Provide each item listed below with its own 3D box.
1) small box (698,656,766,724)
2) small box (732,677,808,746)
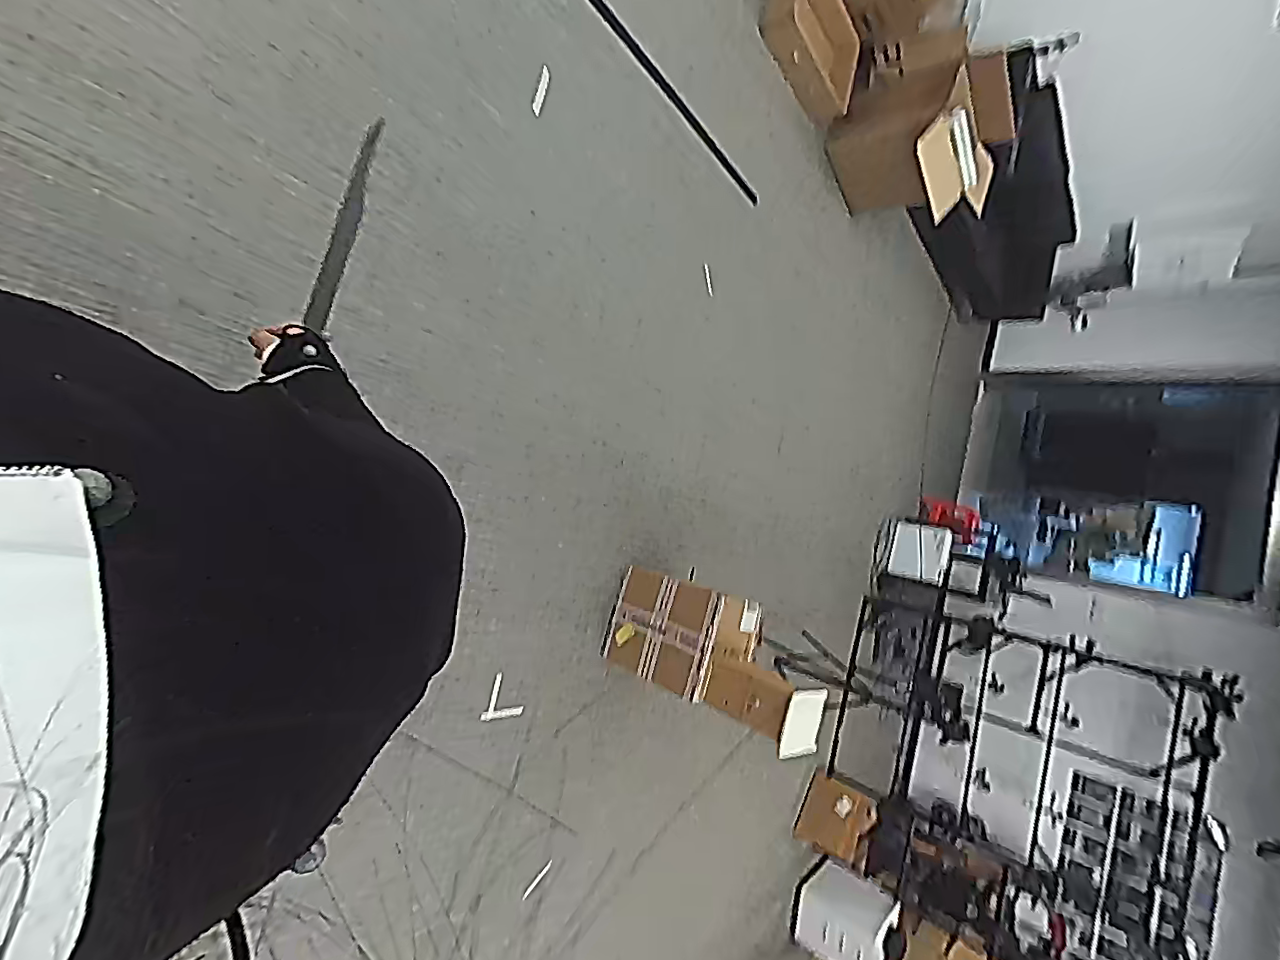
[{"bbox_3d":[0.332,0.764,1.980,0.168,0.176,0.179,17,86,-47],"label":"small box"},{"bbox_3d":[0.449,0.792,1.867,0.179,0.176,0.168,22,83,-45],"label":"small box"}]
